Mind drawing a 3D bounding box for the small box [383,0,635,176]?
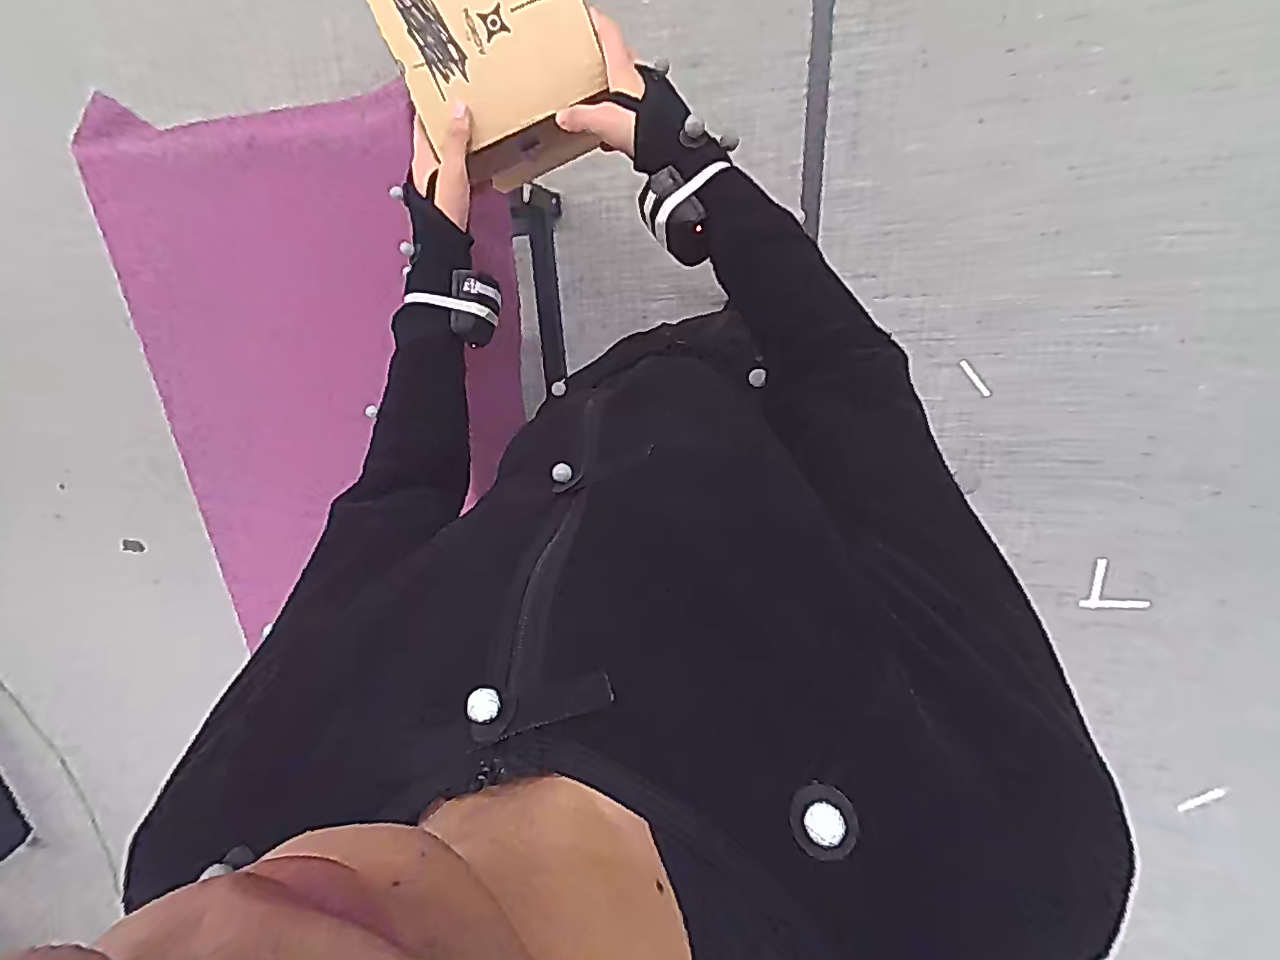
[{"bbox_3d":[-0.118,-0.429,0.539,0.179,0.176,0.168,-18,109,12],"label":"small box"}]
